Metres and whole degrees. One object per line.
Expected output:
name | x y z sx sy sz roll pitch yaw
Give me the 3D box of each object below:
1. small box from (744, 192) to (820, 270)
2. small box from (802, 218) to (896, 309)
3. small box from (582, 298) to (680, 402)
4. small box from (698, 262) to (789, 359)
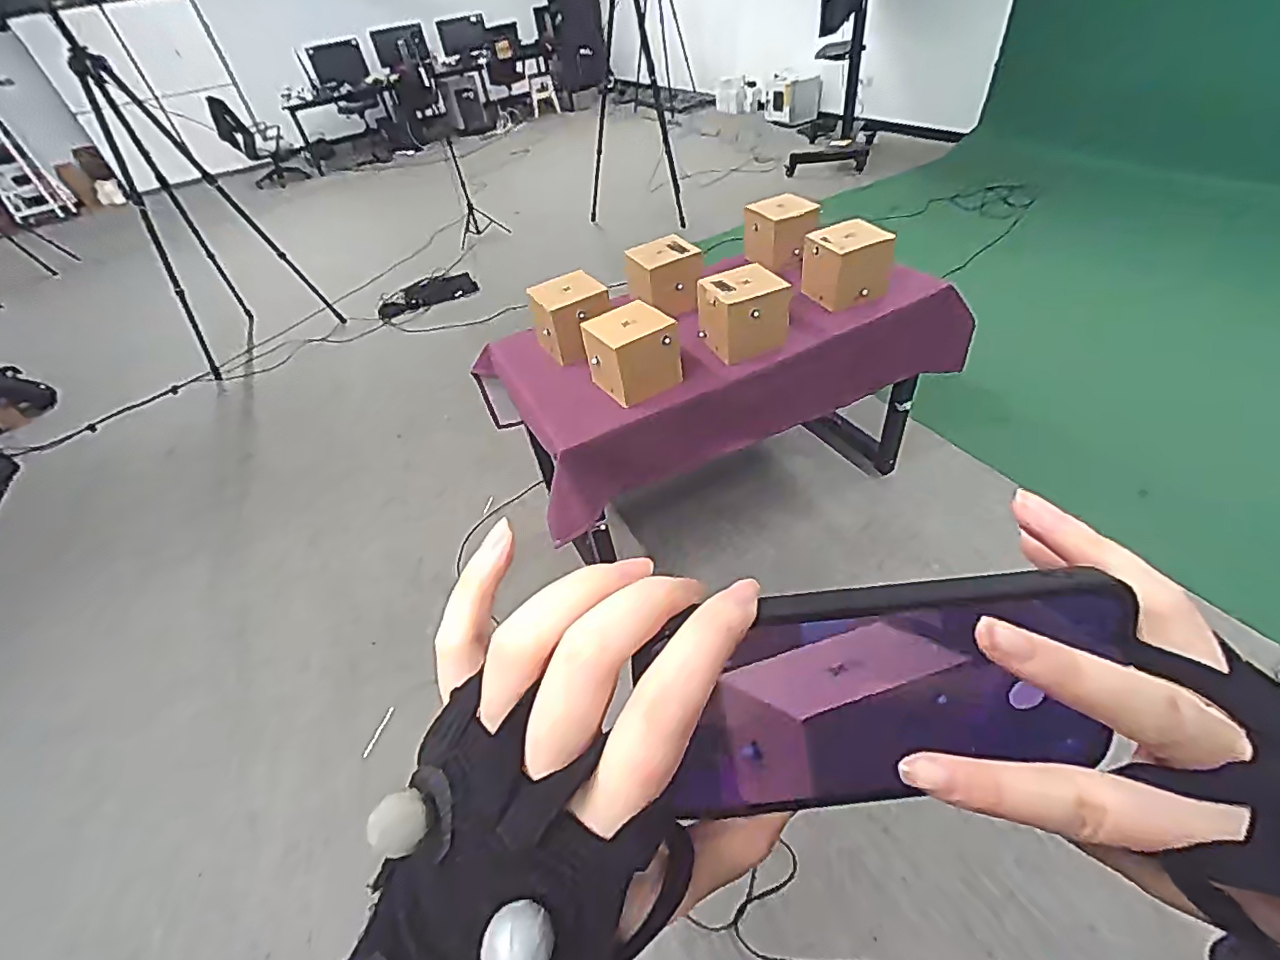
small box | 0.445 -0.793 1.725 0.168 0.176 0.179 -22 46 -12
small box | 0.574 -0.604 1.511 0.179 0.176 0.168 -19 44 -10
small box | -0.017 -0.316 1.328 0.179 0.176 0.168 -28 47 -20
small box | 0.265 -0.435 1.396 0.179 0.176 0.168 -20 45 -11
